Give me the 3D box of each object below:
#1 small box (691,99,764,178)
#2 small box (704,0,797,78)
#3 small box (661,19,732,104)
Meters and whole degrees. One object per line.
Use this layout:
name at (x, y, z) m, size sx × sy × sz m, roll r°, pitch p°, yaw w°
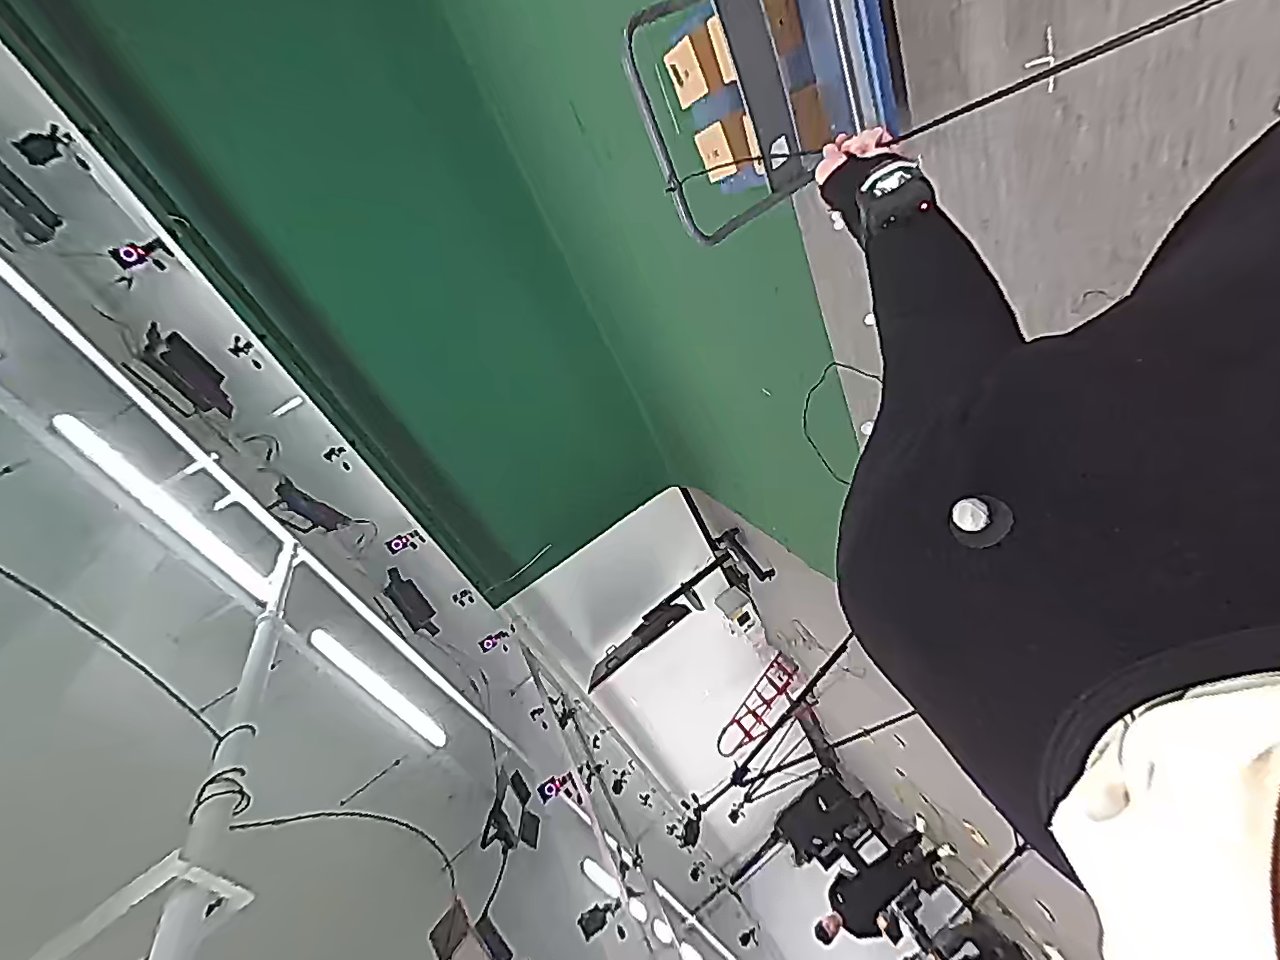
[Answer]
small box at (0.315, -1.200, 1.900) m, size 0.168 × 0.176 × 0.179 m, roll 61°, pitch 167°, yaw -26°
small box at (0.321, -1.311, 1.563) m, size 0.179 × 0.176 × 0.168 m, roll 35°, pitch 158°, yaw 56°
small box at (0.203, -1.396, 1.790) m, size 0.168 × 0.176 × 0.179 m, roll 60°, pitch 167°, yaw -27°
